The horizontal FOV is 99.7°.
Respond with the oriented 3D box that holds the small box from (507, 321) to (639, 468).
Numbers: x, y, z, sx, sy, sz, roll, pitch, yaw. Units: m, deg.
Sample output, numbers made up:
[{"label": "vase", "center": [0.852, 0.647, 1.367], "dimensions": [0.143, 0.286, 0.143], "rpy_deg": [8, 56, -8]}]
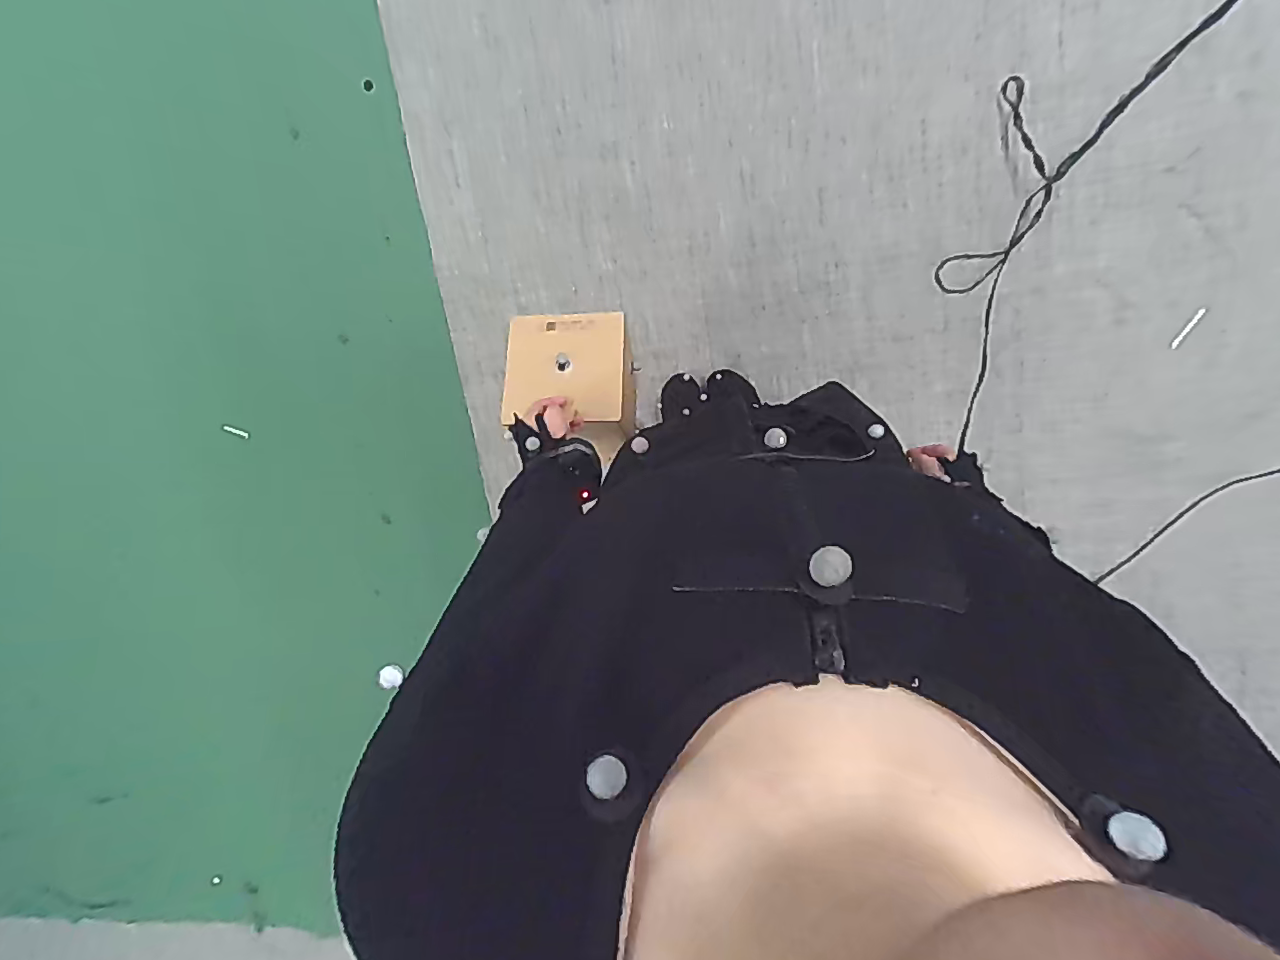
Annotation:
[{"label": "small box", "center": [-0.092, -0.127, 0.816], "dimensions": [0.168, 0.179, 0.176], "rpy_deg": [-1, 73, 6]}]
